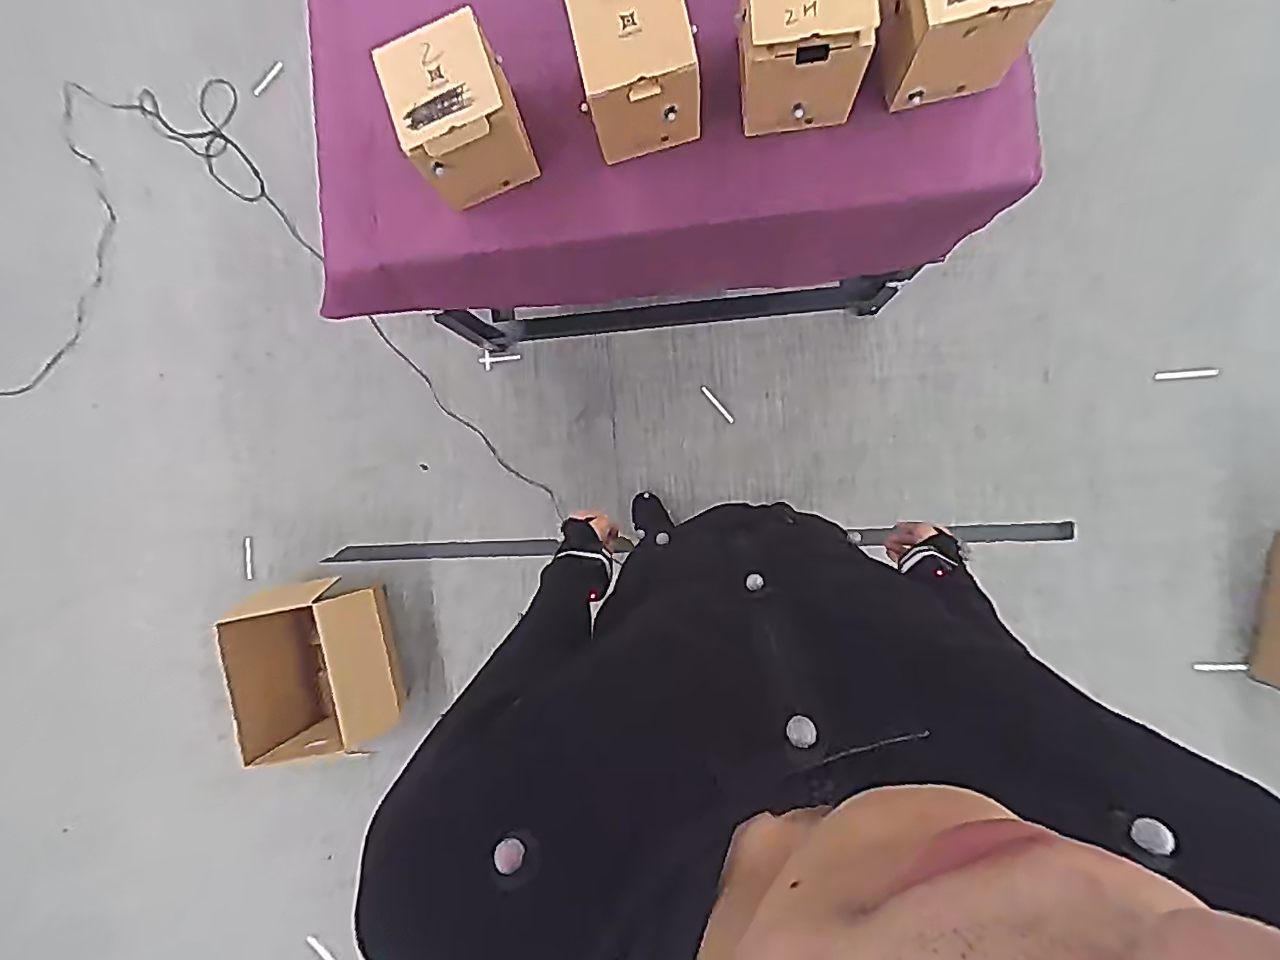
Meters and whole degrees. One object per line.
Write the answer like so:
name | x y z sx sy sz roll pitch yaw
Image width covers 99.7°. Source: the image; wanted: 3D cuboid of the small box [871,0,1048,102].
small box | 0.452 -0.693 0.786 0.168 0.176 0.179 -9 88 7

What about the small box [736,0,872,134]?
small box | 0.235 -0.664 0.812 0.168 0.176 0.179 -3 89 7

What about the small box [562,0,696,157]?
small box | -0.009 -0.641 0.843 0.168 0.176 0.179 -13 88 6
